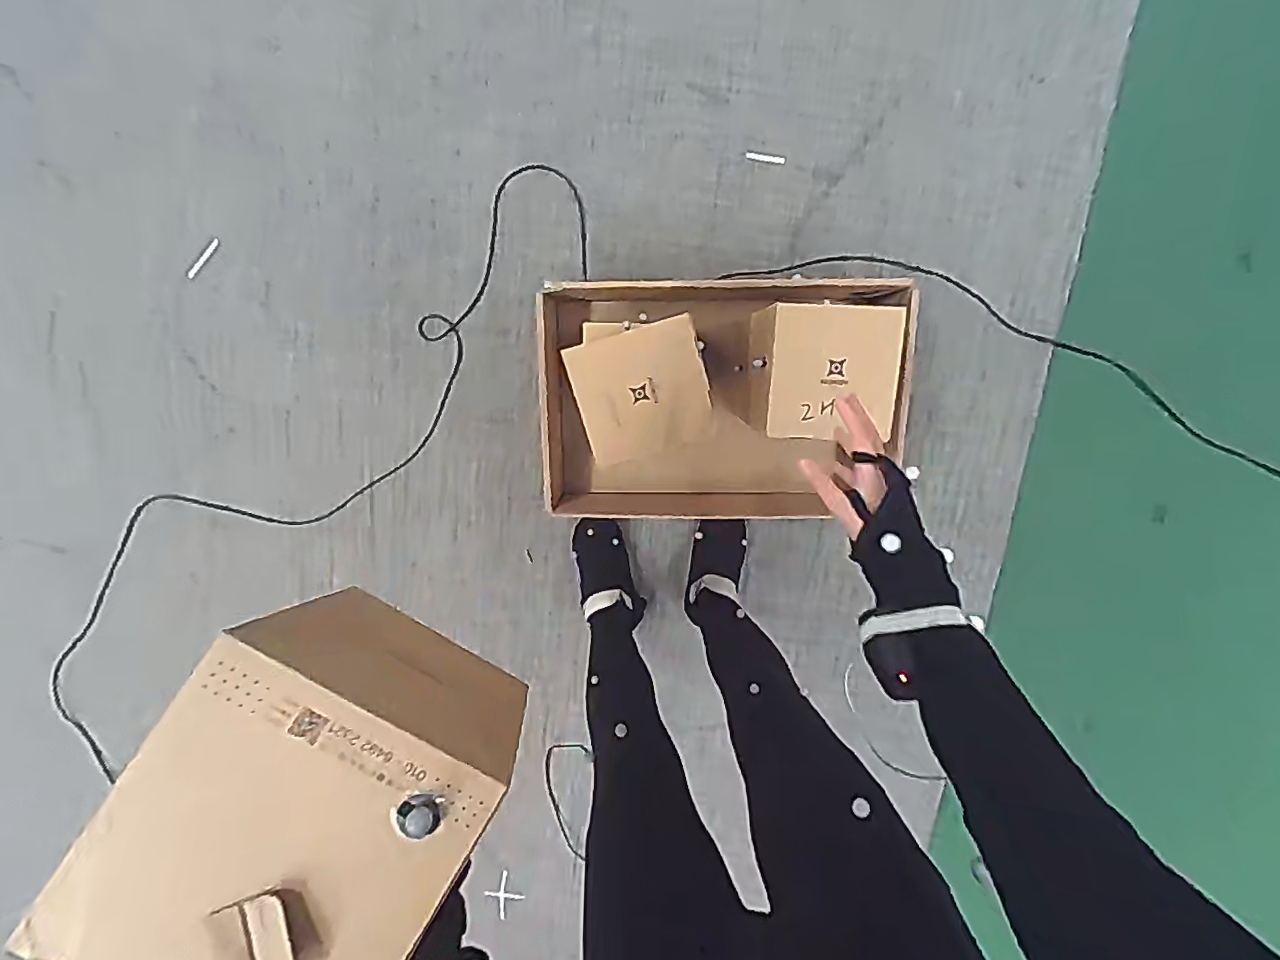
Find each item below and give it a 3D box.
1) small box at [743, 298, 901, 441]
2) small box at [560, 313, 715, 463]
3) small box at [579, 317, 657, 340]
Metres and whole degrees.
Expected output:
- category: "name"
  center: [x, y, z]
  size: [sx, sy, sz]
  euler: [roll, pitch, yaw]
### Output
- category: "small box"
  center: [0.247, -0.159, 0.779]
  size: [0.168, 0.176, 0.179]
  euler: [3, 104, 1]
- category: "small box"
  center: [-0.002, -0.139, 0.792]
  size: [0.179, 0.176, 0.168]
  euler: [-15, 103, 4]
- category: "small box"
  center: [-0.010, -0.193, 0.946]
  size: [0.179, 0.176, 0.168]
  euler: [1, 104, -1]
